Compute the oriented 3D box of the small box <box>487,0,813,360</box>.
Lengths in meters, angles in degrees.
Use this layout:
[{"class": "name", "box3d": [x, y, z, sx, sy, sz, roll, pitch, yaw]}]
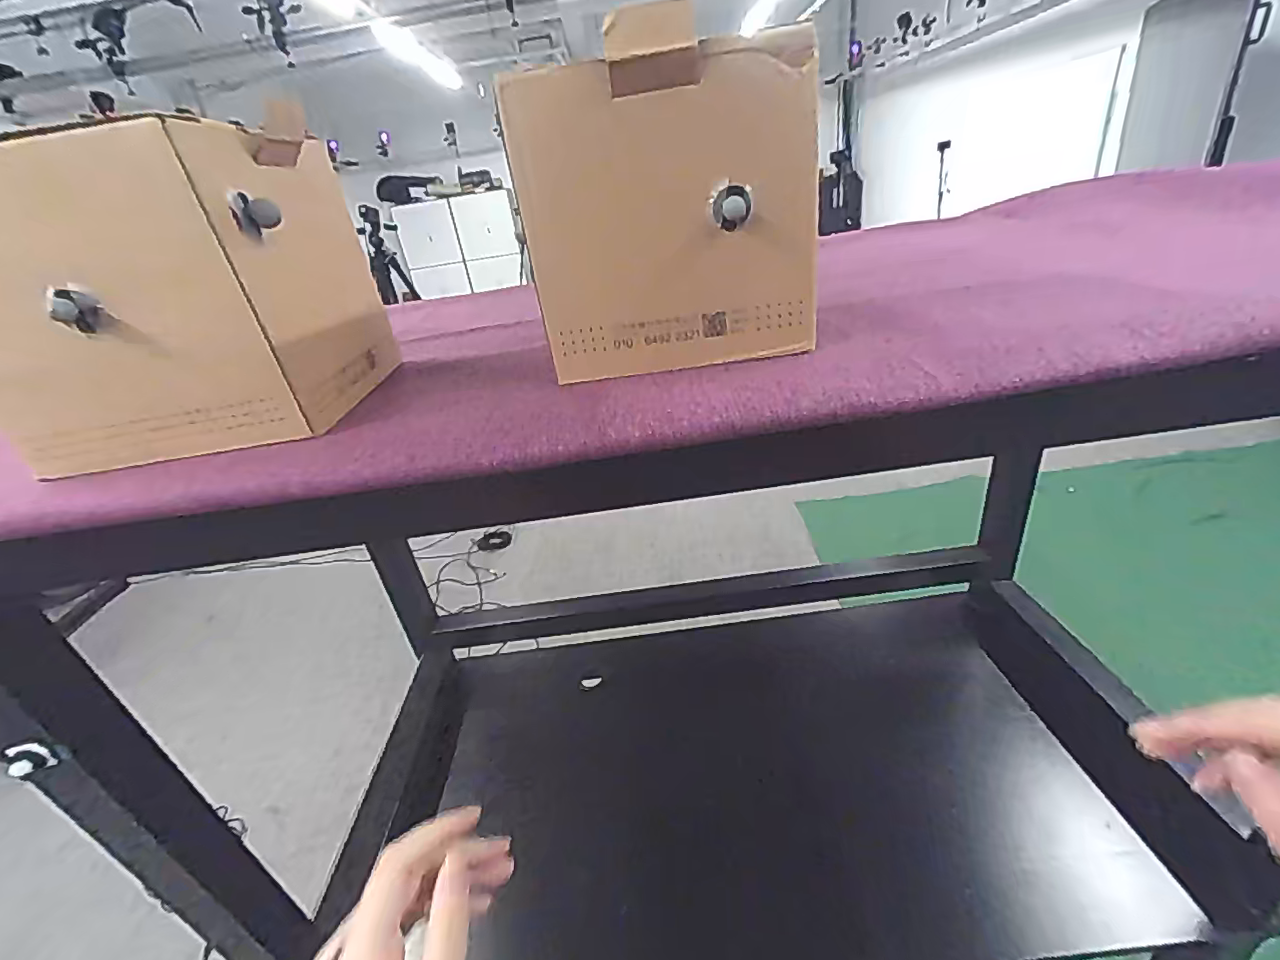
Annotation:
[{"class": "small box", "box3d": [0.016, -0.185, 0.370, 0.168, 0.176, 0.179, -6, 28, 4]}]
